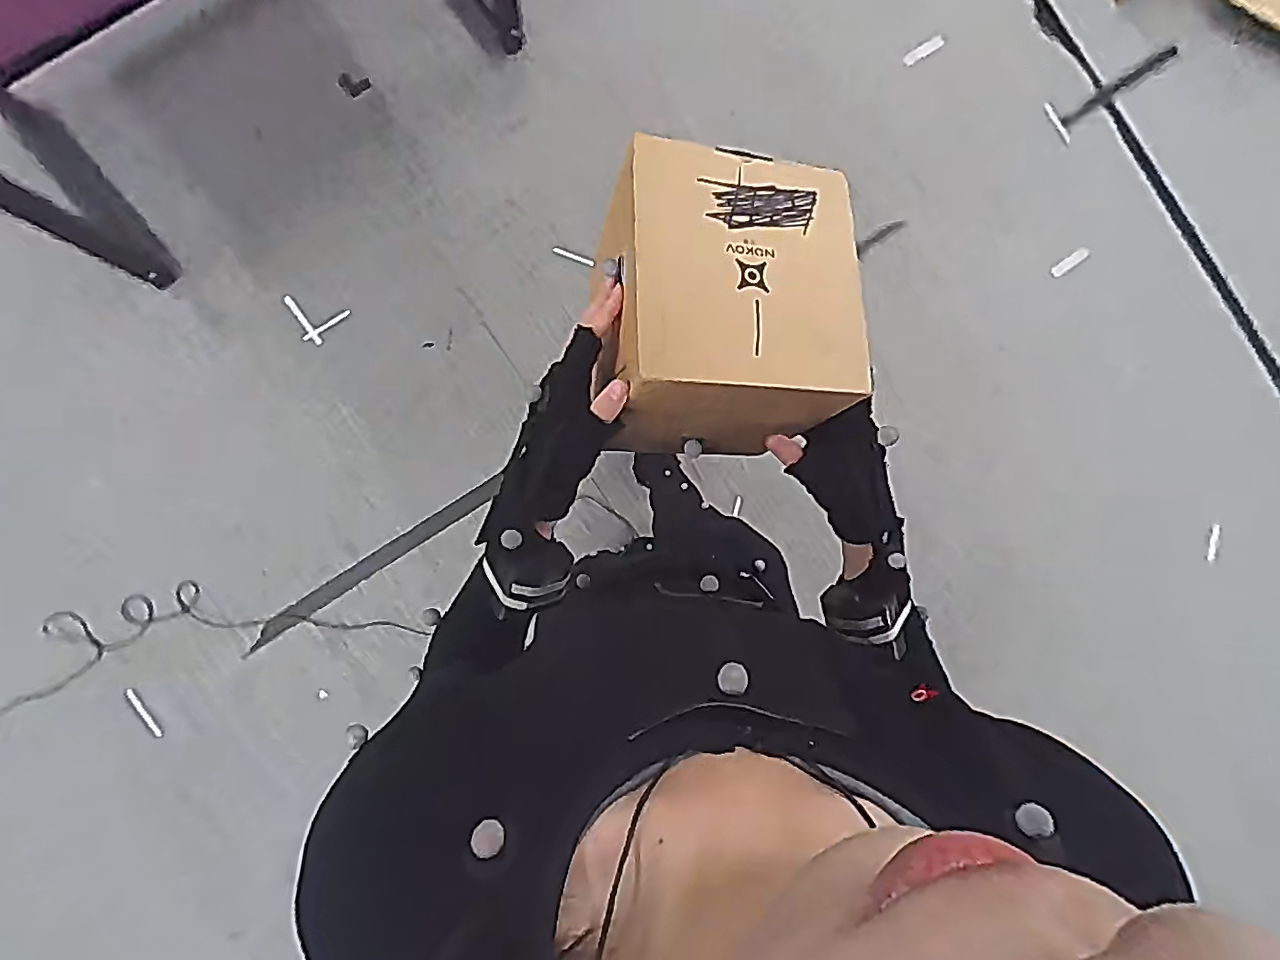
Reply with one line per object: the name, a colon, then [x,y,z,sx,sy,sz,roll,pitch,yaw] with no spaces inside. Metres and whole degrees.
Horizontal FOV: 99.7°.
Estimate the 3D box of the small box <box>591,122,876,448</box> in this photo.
small box: [0.055,-0.135,0.435,0.168,0.176,0.179,0,77,-15]
